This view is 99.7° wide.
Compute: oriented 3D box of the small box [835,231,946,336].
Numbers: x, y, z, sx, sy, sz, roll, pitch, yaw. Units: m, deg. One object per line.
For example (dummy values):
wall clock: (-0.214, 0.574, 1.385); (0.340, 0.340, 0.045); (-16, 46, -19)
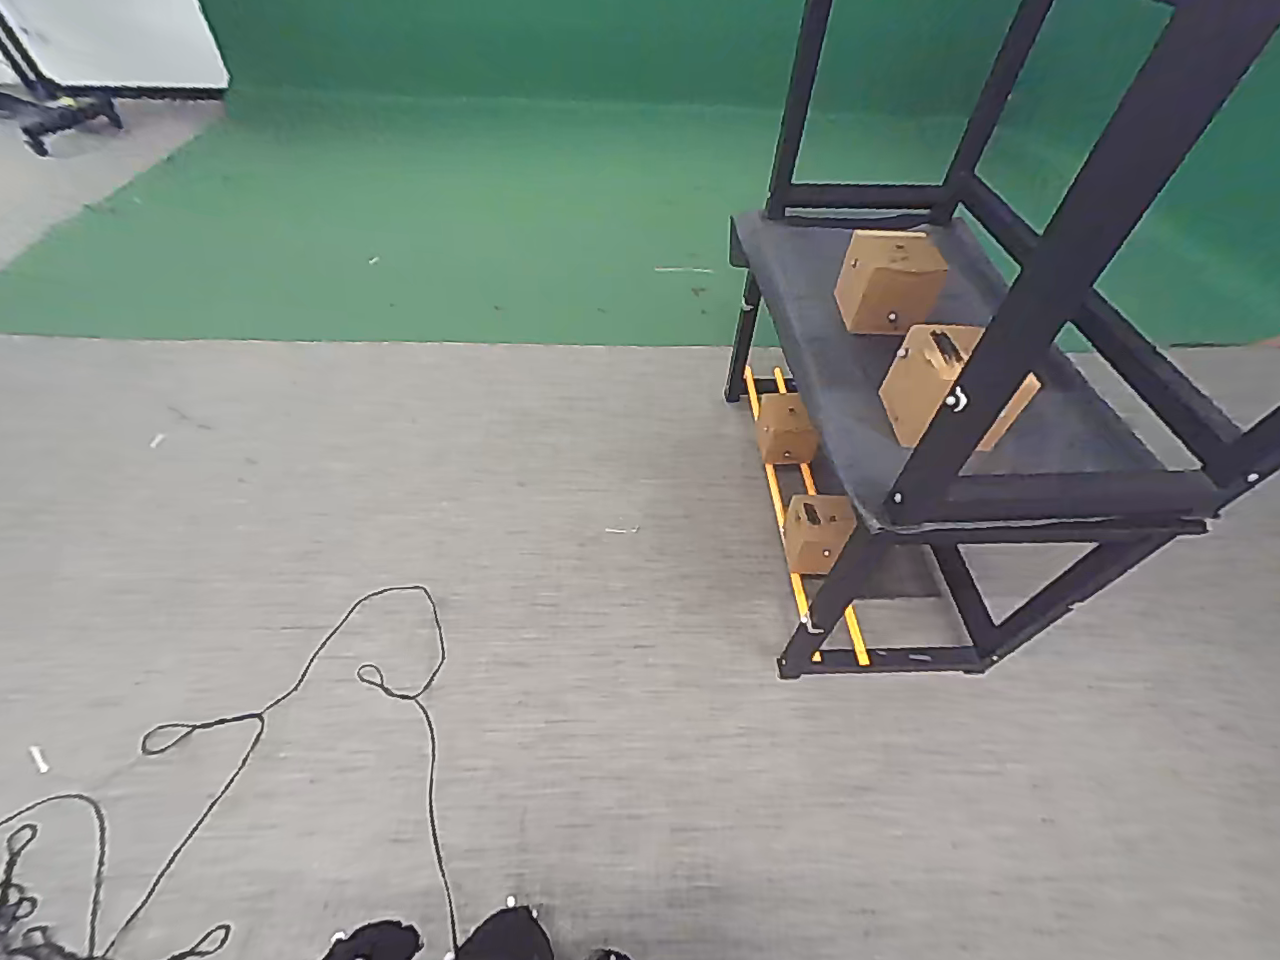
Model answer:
small box: (0.575, -0.462, 1.273); (0.168, 0.176, 0.179); (2, 50, 0)

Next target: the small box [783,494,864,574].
small box: (0.520, 0.158, 1.564); (0.179, 0.176, 0.168); (2, 50, 0)
